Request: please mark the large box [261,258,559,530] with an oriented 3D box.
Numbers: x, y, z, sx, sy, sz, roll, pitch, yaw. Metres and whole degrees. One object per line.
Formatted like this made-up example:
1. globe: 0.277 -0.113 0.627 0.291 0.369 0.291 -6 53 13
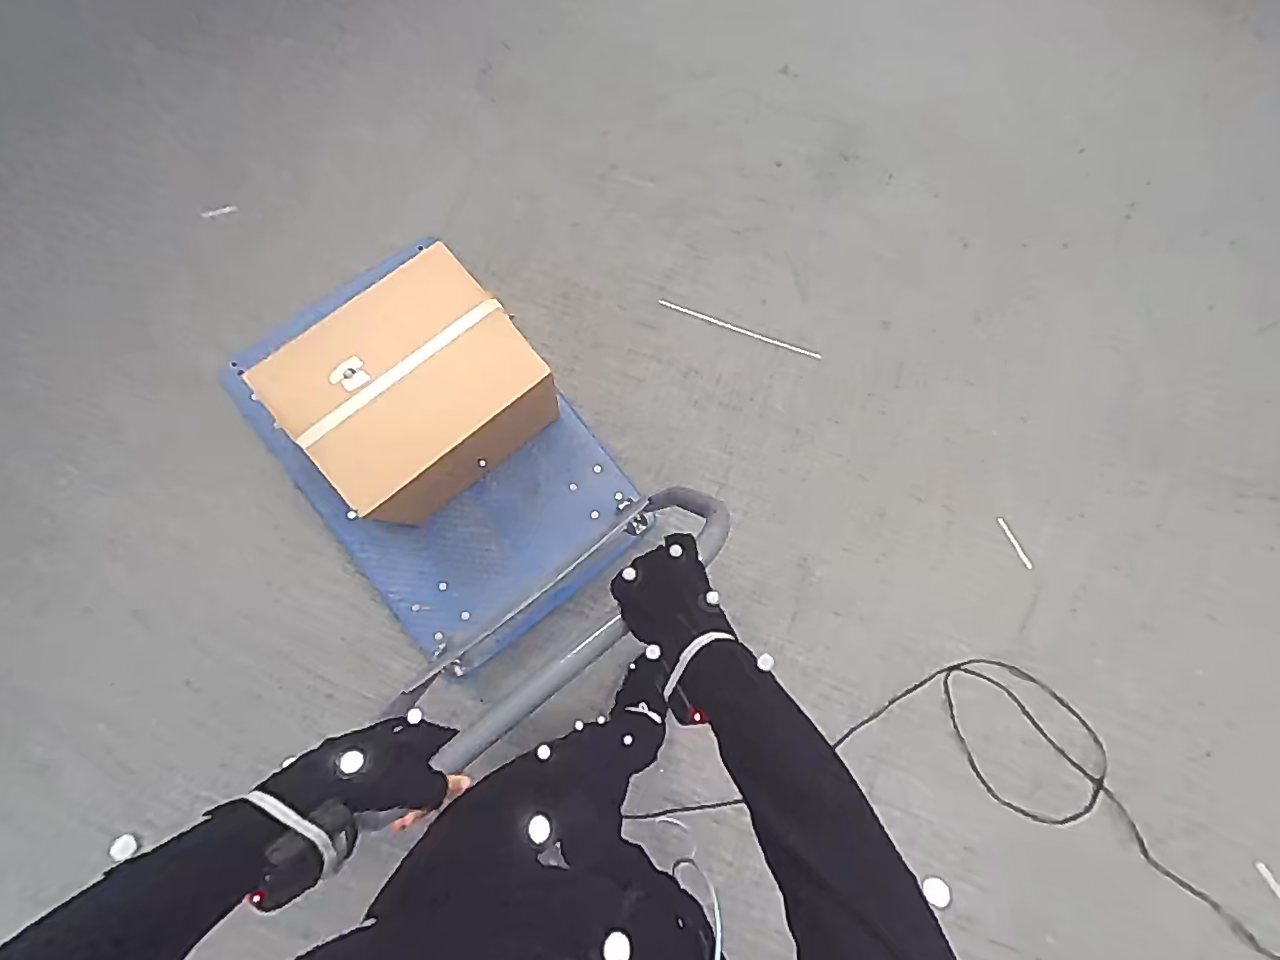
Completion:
1. large box: -0.414 -0.144 1.087 0.408 0.320 0.320 -41 88 -9
